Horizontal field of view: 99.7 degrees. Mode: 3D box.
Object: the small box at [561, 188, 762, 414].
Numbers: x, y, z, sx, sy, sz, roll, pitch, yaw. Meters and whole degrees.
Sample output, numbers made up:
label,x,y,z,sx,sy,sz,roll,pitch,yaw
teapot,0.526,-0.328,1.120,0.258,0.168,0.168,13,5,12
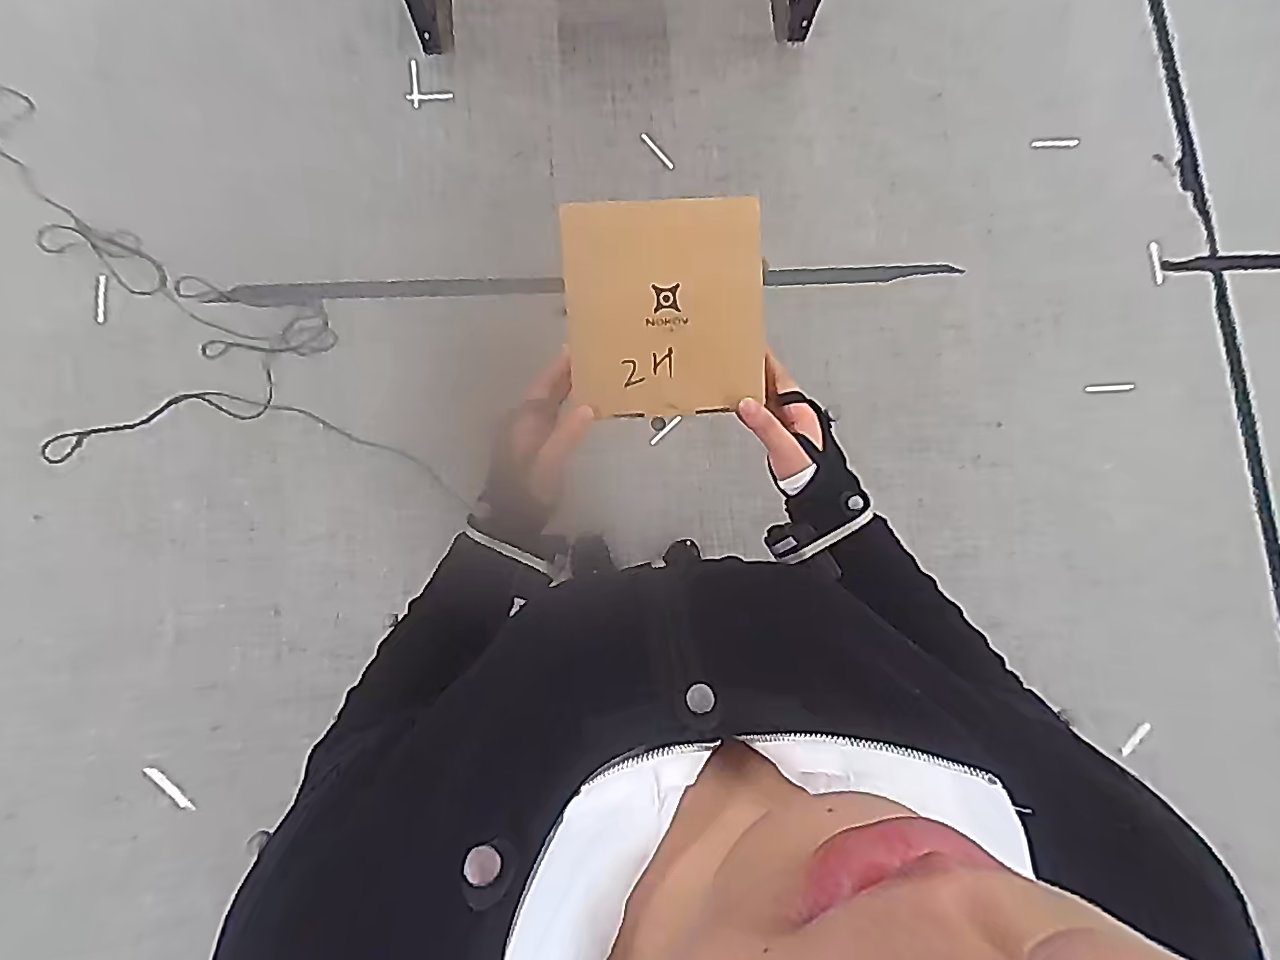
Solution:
label,x,y,z,sx,sy,sz,roll,pitch,yaw
small box,0.015,-0.158,0.530,0.168,0.176,0.179,-4,96,-2
